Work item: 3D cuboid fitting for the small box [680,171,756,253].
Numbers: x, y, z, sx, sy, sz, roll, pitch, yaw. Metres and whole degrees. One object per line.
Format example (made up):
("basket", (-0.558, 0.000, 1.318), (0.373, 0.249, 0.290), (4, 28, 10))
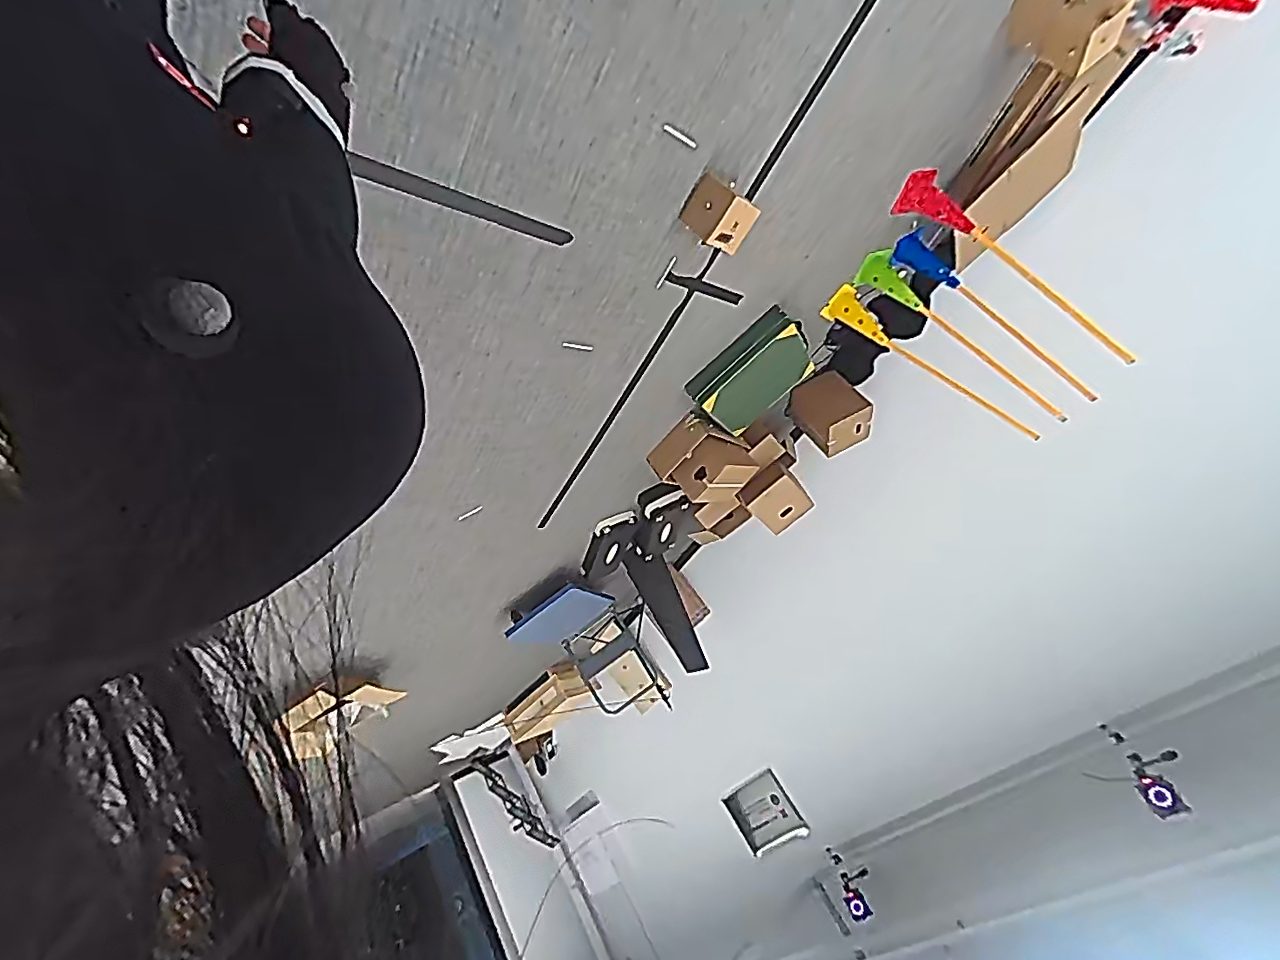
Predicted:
("small box", (0.265, -0.939, 1.897), (0.168, 0.176, 0.179), (-4, 139, -48))
